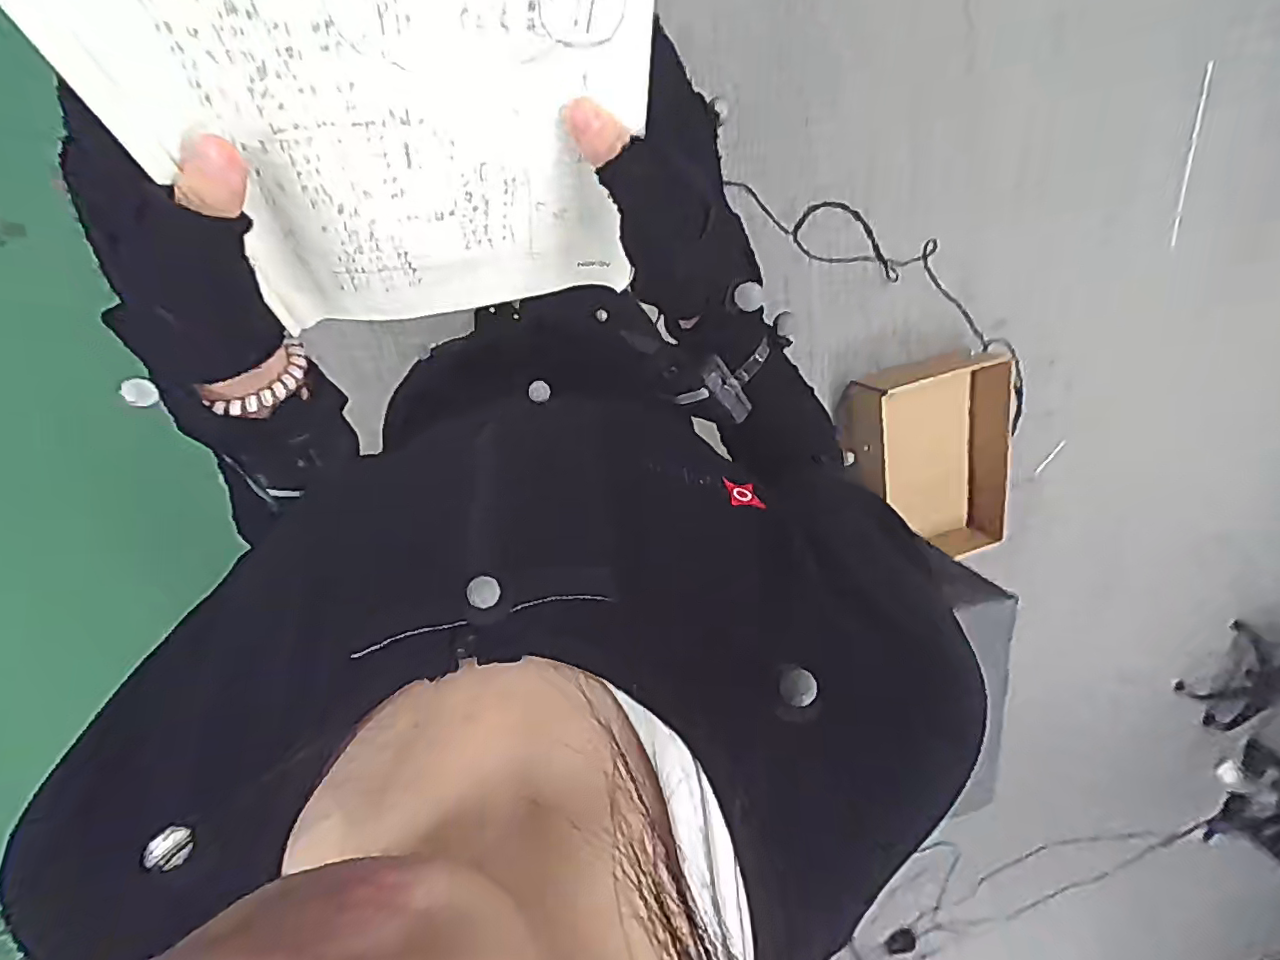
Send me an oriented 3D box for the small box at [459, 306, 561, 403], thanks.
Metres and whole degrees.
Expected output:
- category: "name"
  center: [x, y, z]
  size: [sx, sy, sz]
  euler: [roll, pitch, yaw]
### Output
- category: "small box"
  center: [-0.321, -0.309, 1.323]
  size: [0.179, 0.176, 0.168]
  euler: [26, 116, 1]
